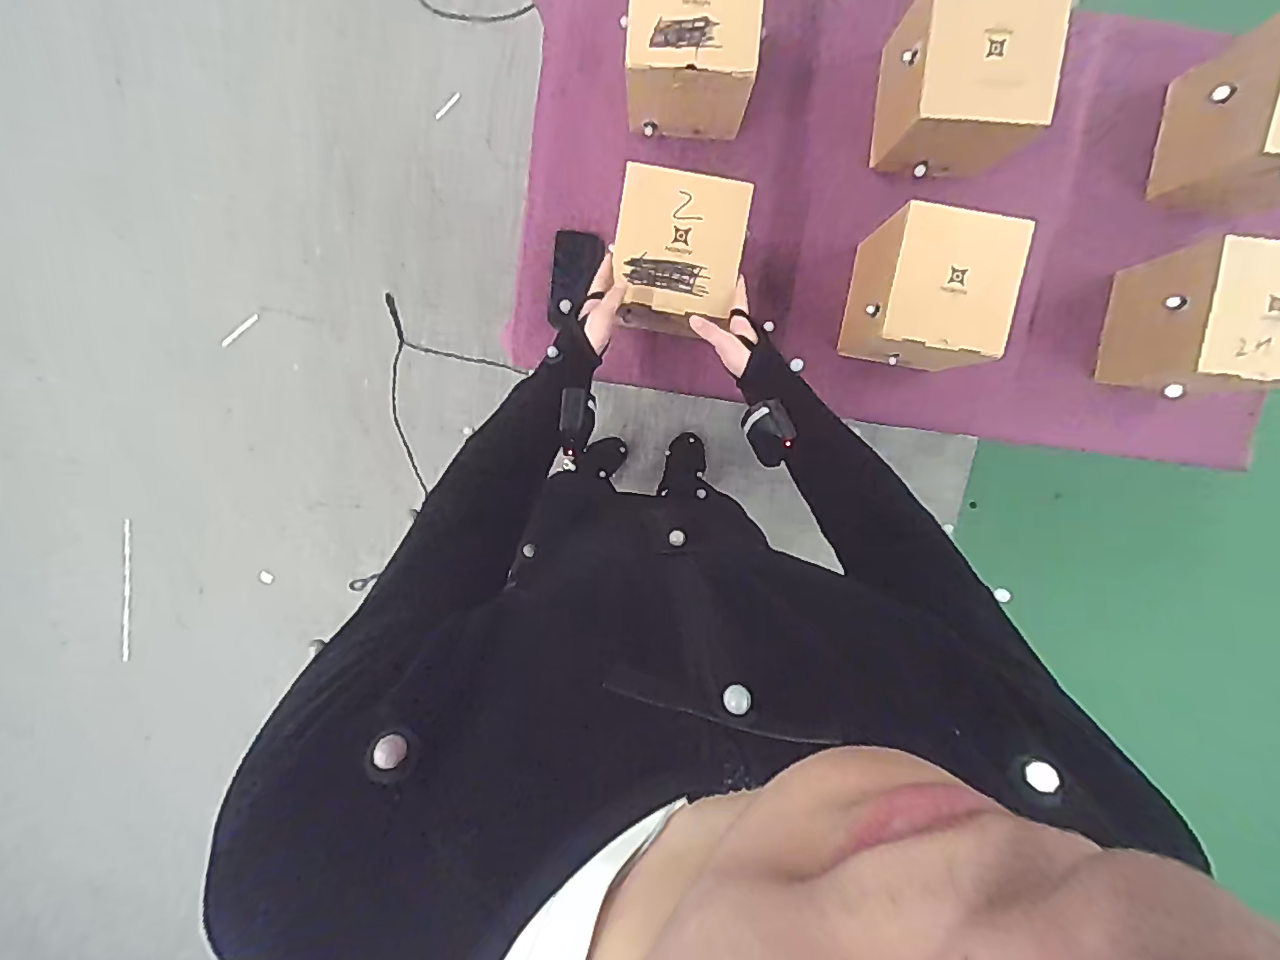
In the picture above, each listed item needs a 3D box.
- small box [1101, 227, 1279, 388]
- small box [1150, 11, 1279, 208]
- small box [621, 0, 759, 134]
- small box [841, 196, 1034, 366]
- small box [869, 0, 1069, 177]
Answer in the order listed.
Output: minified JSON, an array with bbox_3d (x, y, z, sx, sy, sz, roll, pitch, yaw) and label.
[{"bbox_3d":[0.811,-0.232,0.768,0.168,0.176,0.179,7,96,1],"label":"small box"},{"bbox_3d":[0.859,-0.501,0.737,0.168,0.176,0.179,6,97,1],"label":"small box"},{"bbox_3d":[0.066,-0.601,0.732,0.168,0.176,0.179,4,97,0],"label":"small box"},{"bbox_3d":[0.407,-0.270,0.771,0.168,0.176,0.179,9,96,-1],"label":"small box"},{"bbox_3d":[0.432,-0.546,0.737,0.168,0.176,0.179,4,98,1],"label":"small box"}]
